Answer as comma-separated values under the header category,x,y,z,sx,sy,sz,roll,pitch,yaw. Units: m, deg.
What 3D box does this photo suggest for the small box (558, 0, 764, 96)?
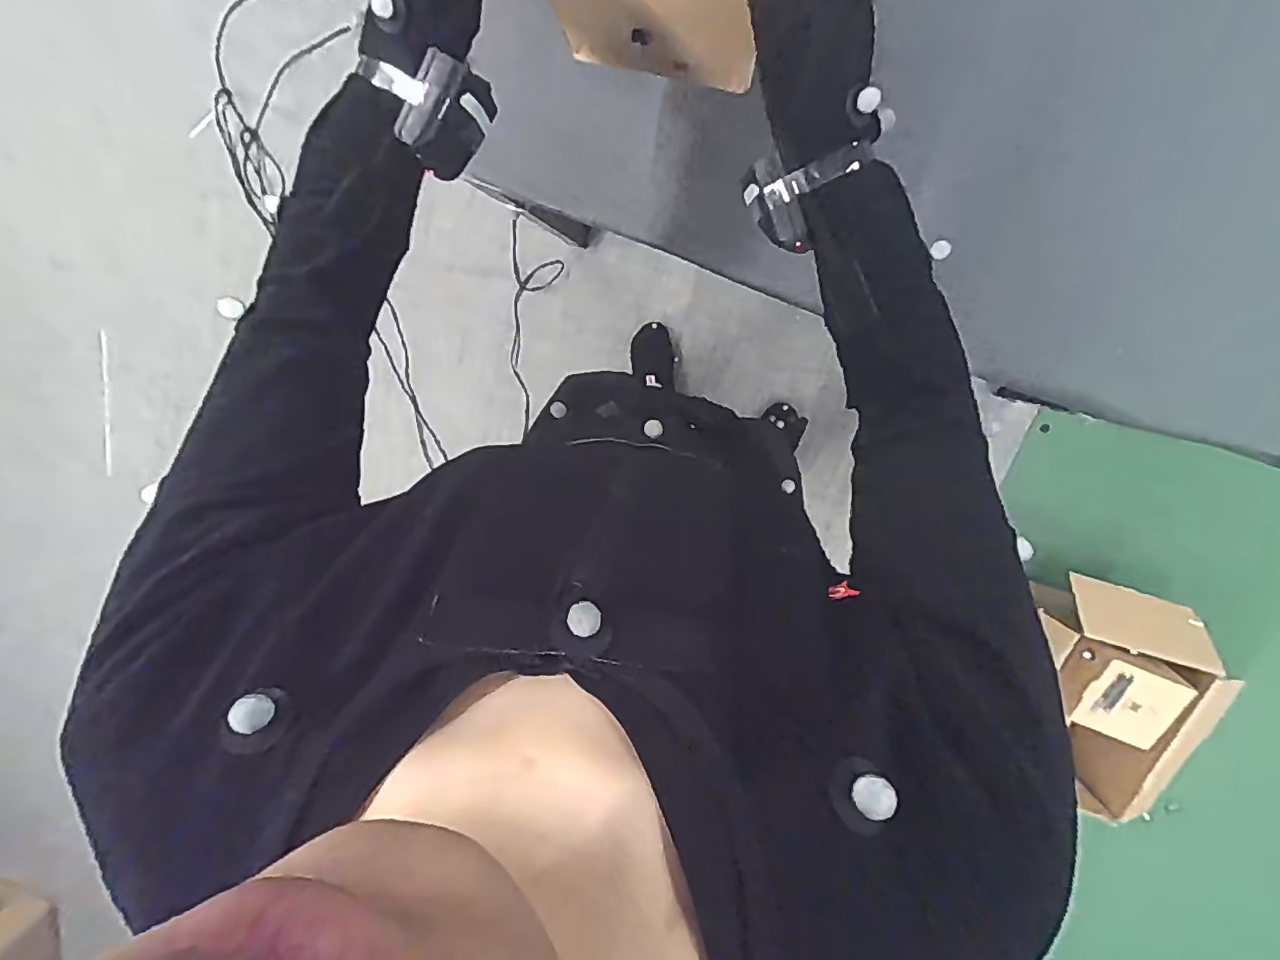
category,x,y,z,sx,sy,sz,roll,pitch,yaw
small box,0.026,-0.436,0.405,0.168,0.176,0.179,13,104,2
